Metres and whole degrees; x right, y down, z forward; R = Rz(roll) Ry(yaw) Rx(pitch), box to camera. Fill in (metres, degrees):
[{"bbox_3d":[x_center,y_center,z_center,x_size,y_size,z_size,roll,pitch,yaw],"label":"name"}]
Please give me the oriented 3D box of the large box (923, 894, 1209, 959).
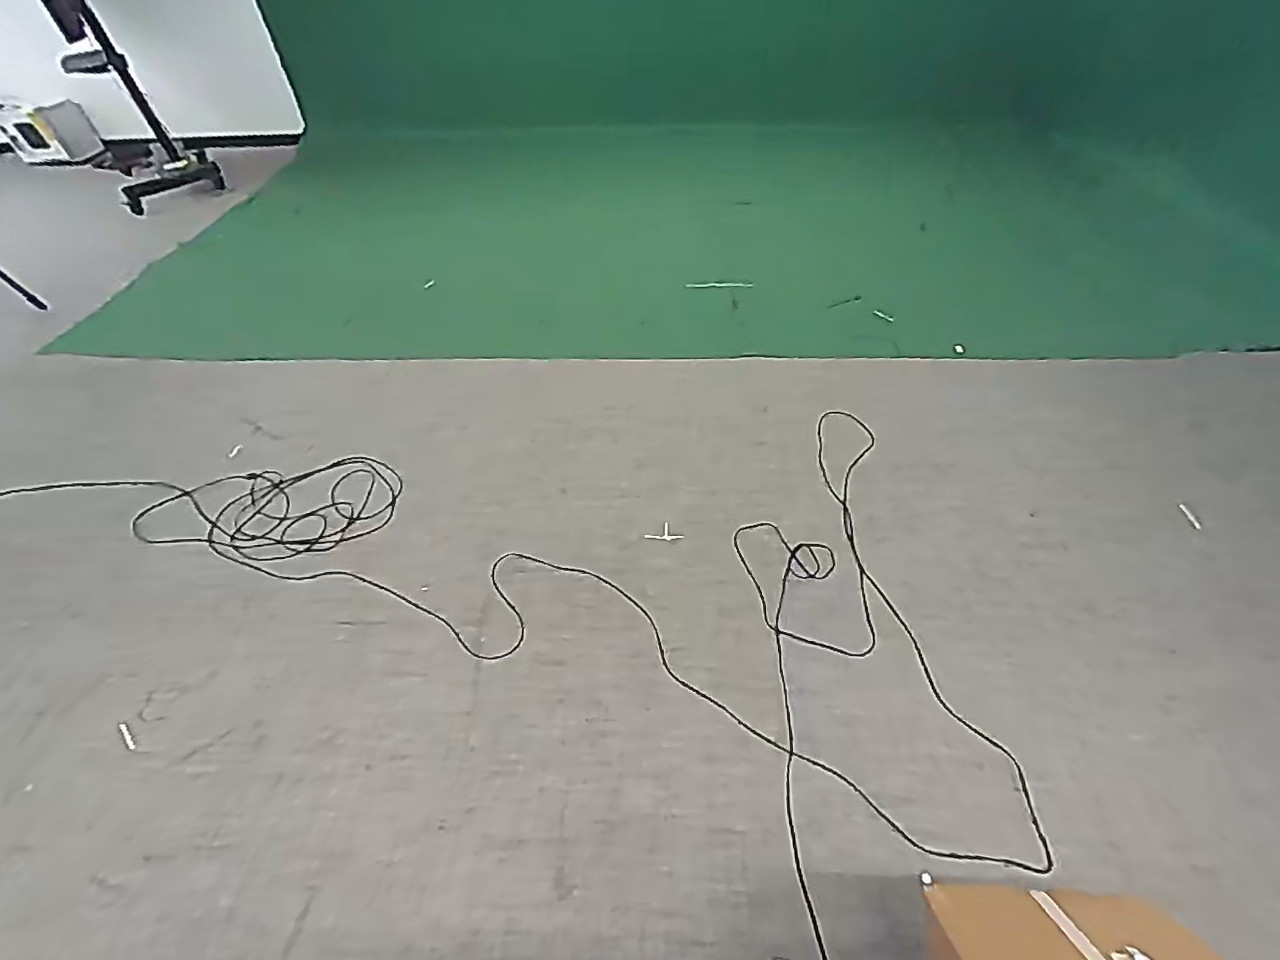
[{"bbox_3d":[0.550,0.746,0.575,0.320,0.408,0.320,-1,86,8],"label":"large box"}]
